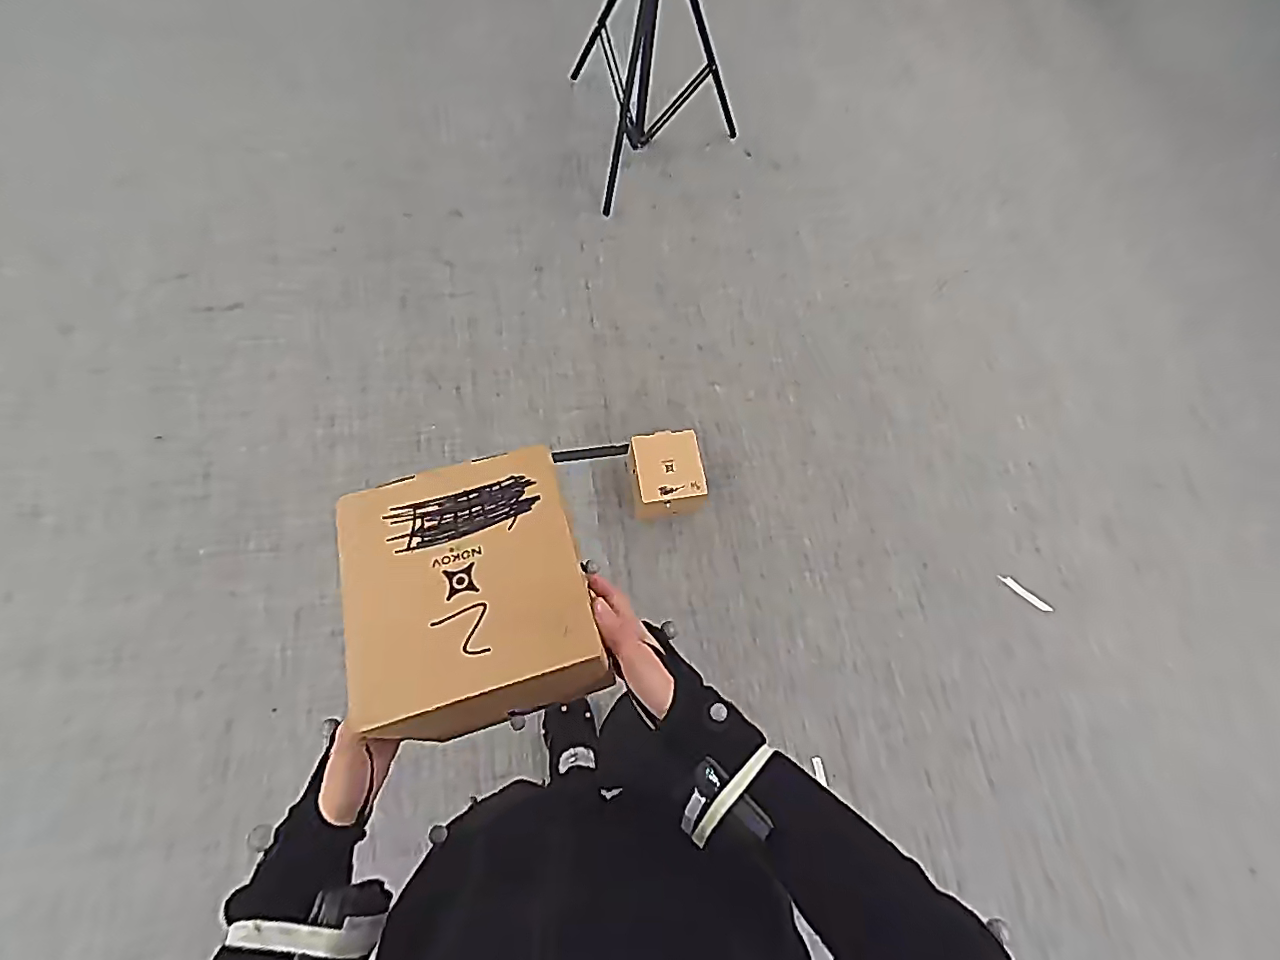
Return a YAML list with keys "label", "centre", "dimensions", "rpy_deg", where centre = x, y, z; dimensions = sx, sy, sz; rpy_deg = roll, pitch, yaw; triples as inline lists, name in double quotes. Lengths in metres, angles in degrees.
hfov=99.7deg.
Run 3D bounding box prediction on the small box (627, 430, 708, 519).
- label: "small box"
  centre: [0.064, -0.011, 1.407]
  dimensions: [0.168, 0.176, 0.179]
  rpy_deg: [-7, 73, -9]
